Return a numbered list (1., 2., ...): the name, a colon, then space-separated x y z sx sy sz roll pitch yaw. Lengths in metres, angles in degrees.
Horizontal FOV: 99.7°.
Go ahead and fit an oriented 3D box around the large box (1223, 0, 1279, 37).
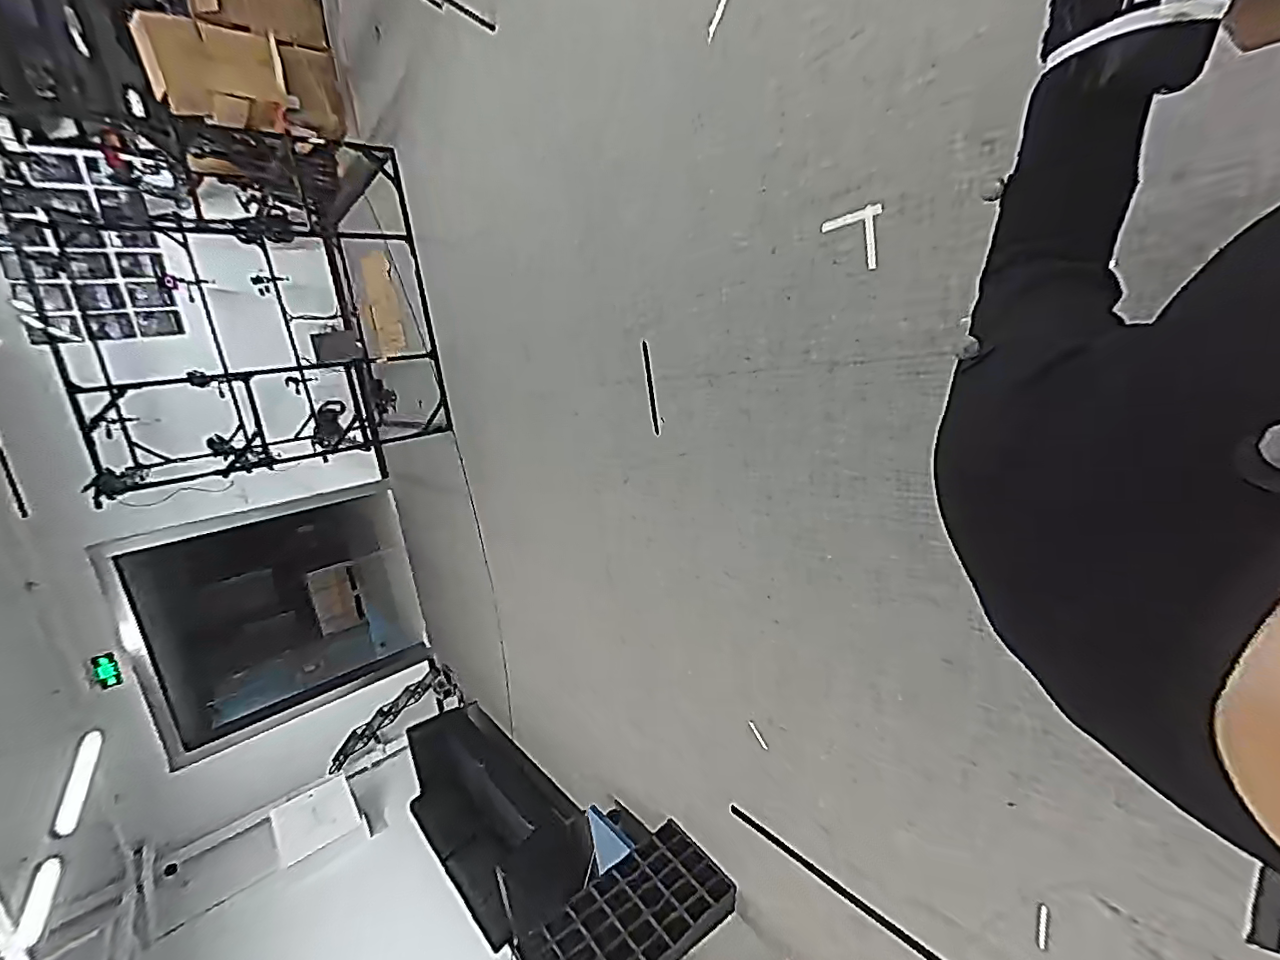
1. large box: 0.553 -0.480 0.225 0.408 0.320 0.320 12 119 49
